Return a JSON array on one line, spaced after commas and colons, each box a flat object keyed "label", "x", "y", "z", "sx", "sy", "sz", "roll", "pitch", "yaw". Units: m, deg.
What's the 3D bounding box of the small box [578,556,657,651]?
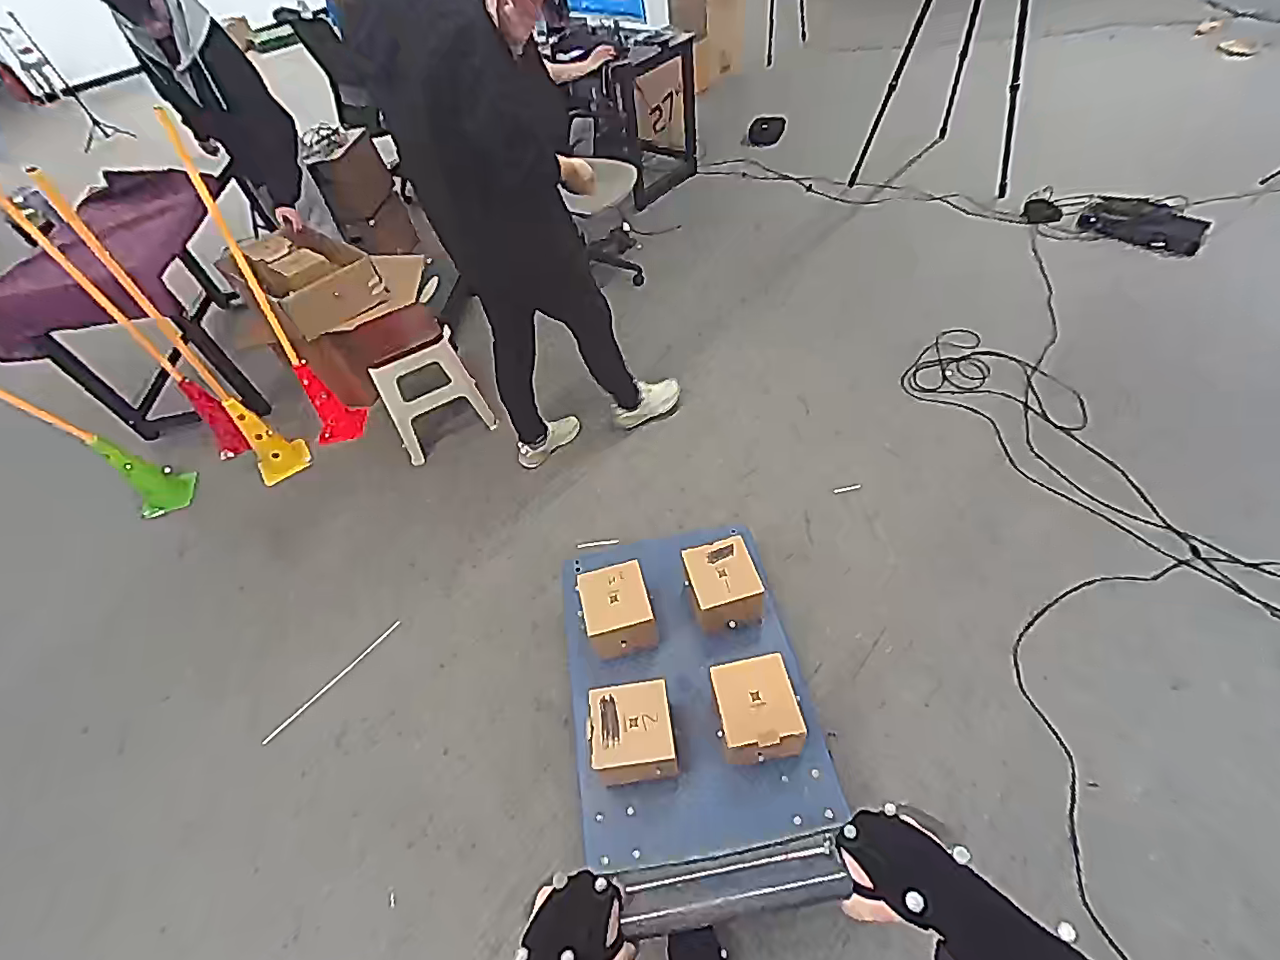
[{"label": "small box", "x": -0.056, "y": 0.329, "z": 1.414, "sx": 0.168, "sy": 0.176, "sz": 0.179, "roll": -13, "pitch": 51, "yaw": -4}]

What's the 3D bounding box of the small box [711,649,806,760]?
[{"label": "small box", "x": 0.258, "y": 0.511, "z": 1.227, "sx": 0.168, "sy": 0.176, "sz": 0.179, "roll": -11, "pitch": 52, "yaw": -1}]

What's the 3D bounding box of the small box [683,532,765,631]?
[{"label": "small box", "x": 0.216, "y": 0.268, "z": 1.424, "sx": 0.168, "sy": 0.176, "sz": 0.179, "roll": -15, "pitch": 52, "yaw": -3}]
